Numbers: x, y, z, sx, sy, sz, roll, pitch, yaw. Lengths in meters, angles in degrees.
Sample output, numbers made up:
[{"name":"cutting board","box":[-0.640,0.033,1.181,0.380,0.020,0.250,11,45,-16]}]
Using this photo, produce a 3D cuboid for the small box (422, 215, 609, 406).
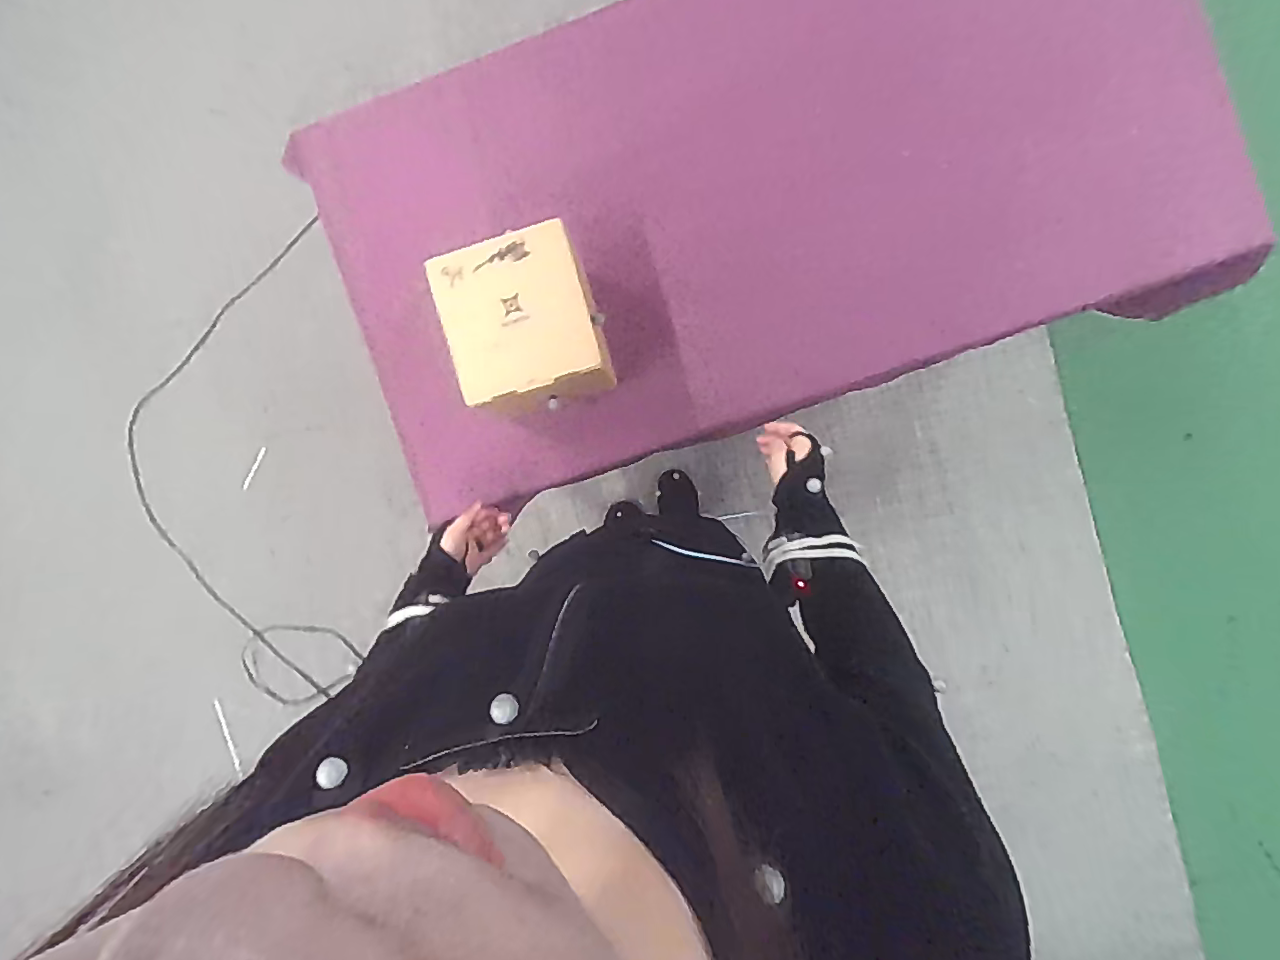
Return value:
[{"name":"small box","box":[-0.143,-0.197,0.688,0.168,0.176,0.179,-15,93,3]}]
